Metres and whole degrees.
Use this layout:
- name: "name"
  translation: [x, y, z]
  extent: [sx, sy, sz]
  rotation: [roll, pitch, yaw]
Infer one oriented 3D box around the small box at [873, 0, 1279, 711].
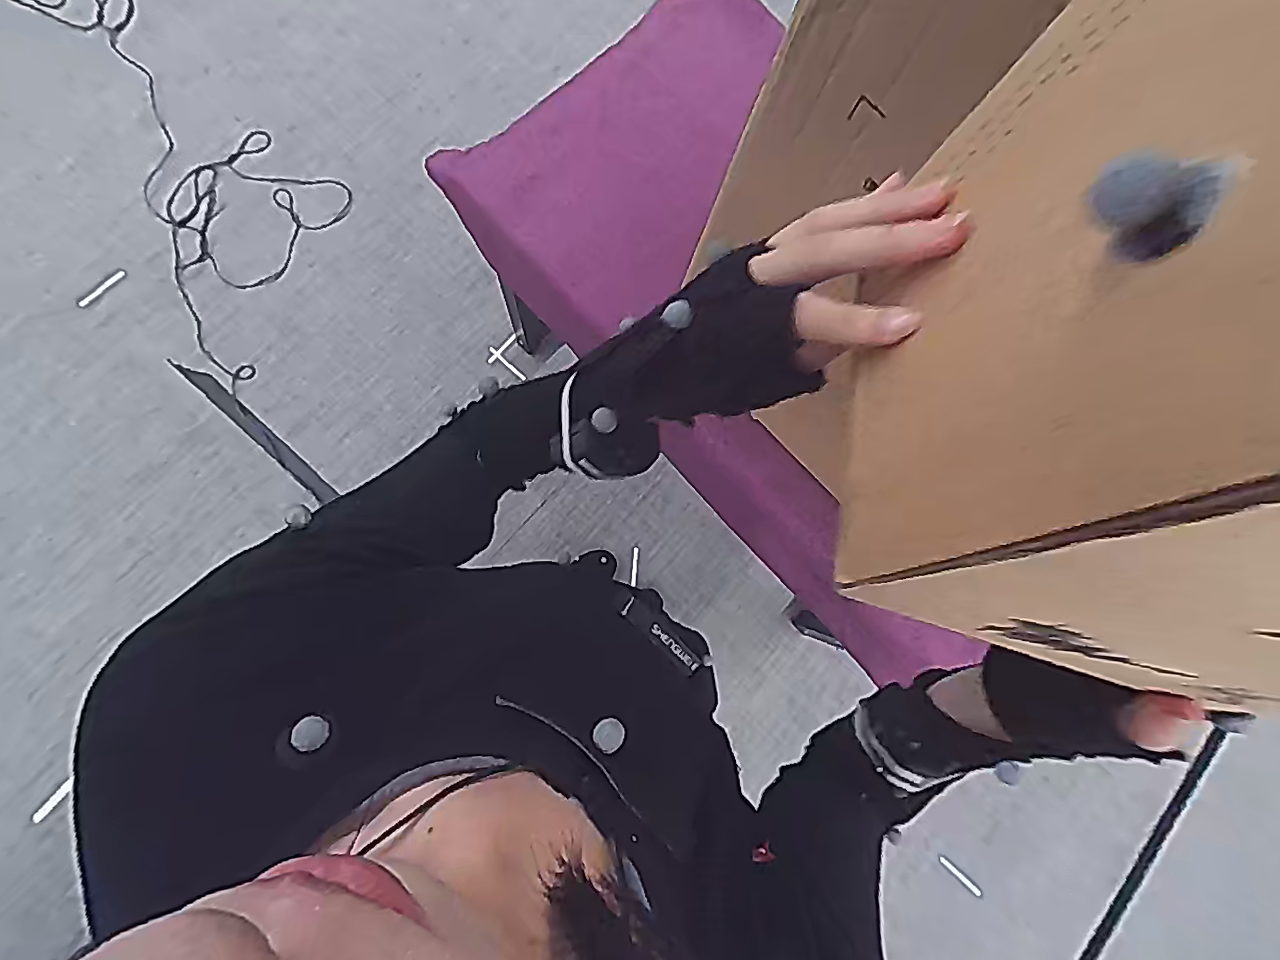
- name: "small box"
  translation: [0.184, -0.046, 0.138]
  extent: [0.168, 0.179, 0.176]
  rotation: [19, 65, -11]
